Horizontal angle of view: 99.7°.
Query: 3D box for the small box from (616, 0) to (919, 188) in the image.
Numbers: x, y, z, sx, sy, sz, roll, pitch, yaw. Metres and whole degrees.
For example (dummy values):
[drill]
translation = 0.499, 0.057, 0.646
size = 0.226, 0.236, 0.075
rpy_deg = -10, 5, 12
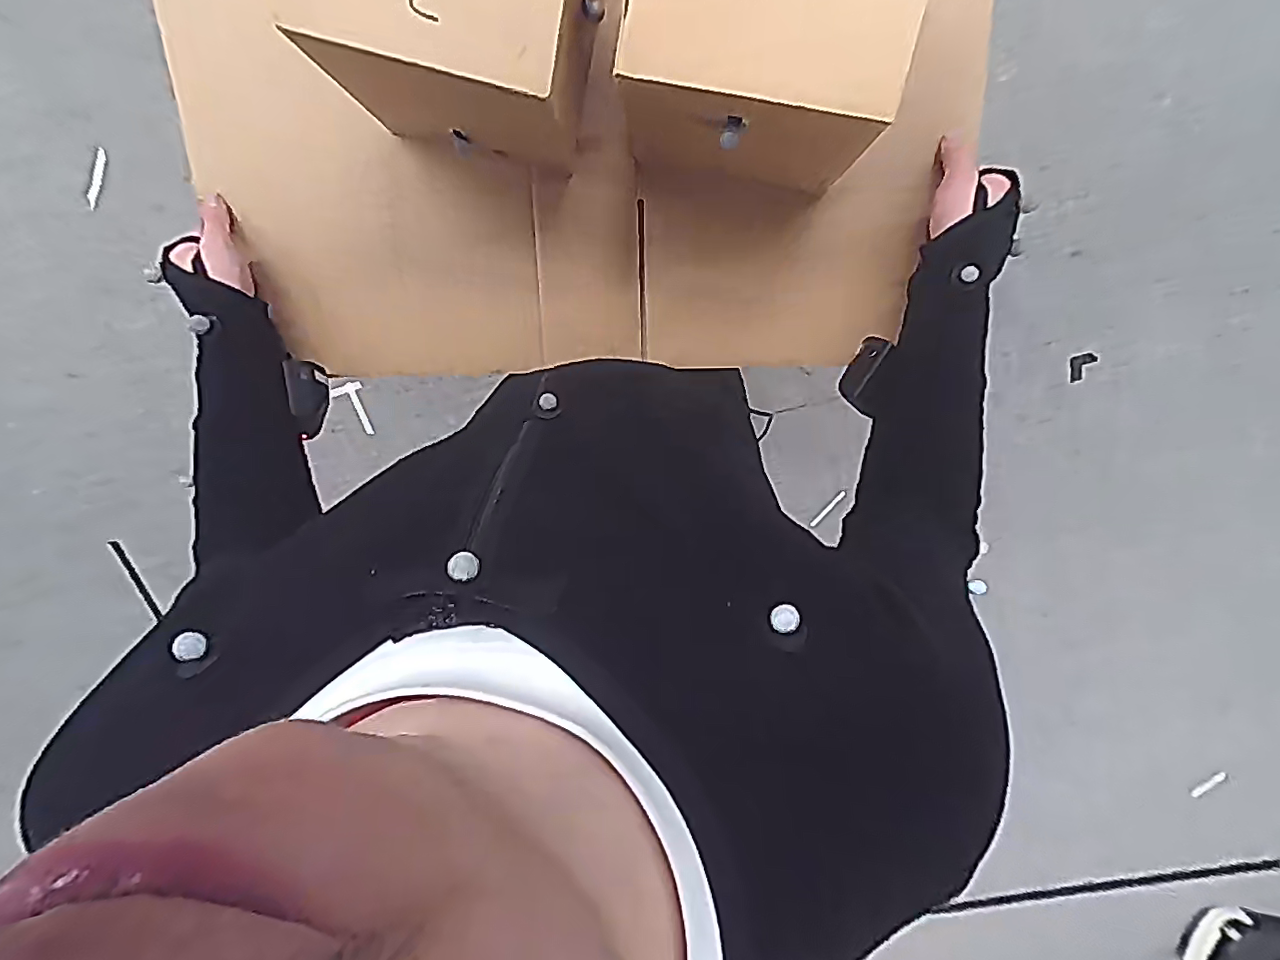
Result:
[small box]
translation = 0.091, -0.334, 0.399
size = 0.179, 0.176, 0.168
rpy_deg = 11, 105, 3
